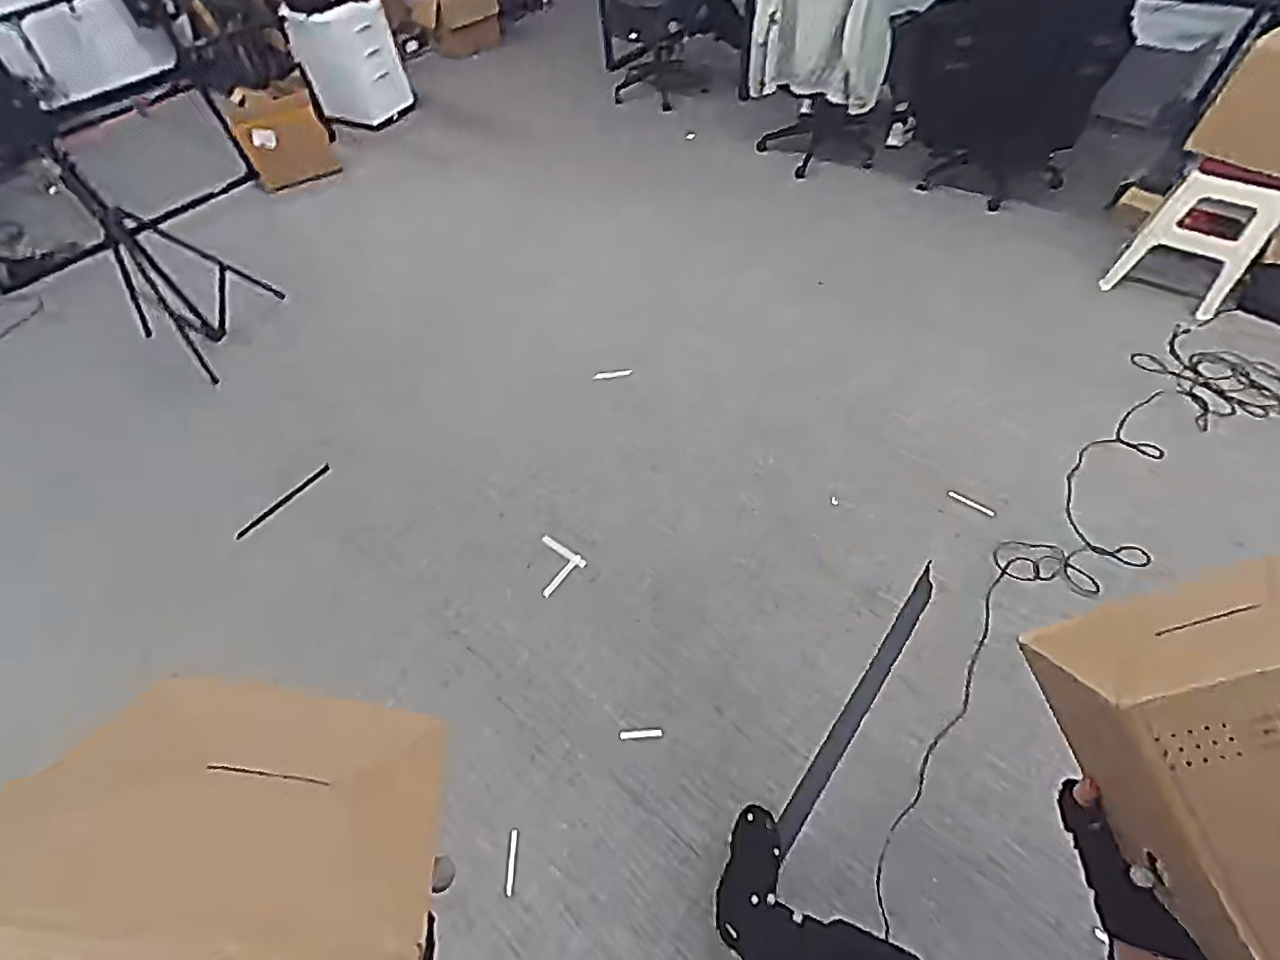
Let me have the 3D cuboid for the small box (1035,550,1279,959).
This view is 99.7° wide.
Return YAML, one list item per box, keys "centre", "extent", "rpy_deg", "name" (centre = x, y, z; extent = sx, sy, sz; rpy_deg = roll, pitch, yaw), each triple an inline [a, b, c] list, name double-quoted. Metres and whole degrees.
- centre: [0.356, 0.143, 0.289]
  extent: [0.168, 0.179, 0.176]
  rpy_deg: [-24, 78, 18]
  name: "small box"
